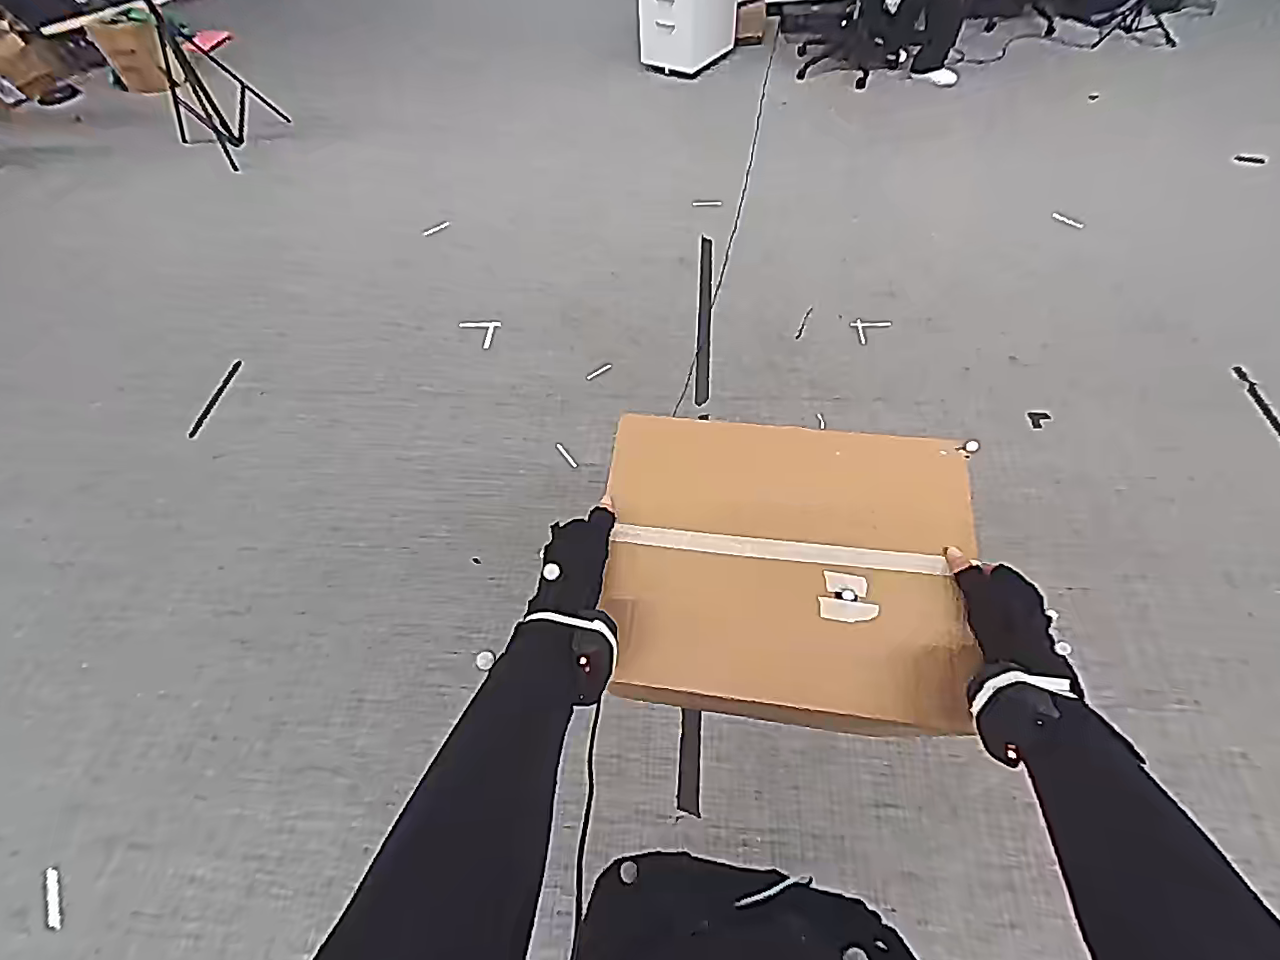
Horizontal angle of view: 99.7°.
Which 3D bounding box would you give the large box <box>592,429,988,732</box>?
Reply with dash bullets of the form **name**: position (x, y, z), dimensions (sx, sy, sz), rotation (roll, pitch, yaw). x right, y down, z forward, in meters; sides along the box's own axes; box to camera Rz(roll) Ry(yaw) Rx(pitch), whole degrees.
- **large box**: position (0.170, 0.152, 0.741), dimensions (0.408, 0.320, 0.320), rotation (6, 66, 6)
